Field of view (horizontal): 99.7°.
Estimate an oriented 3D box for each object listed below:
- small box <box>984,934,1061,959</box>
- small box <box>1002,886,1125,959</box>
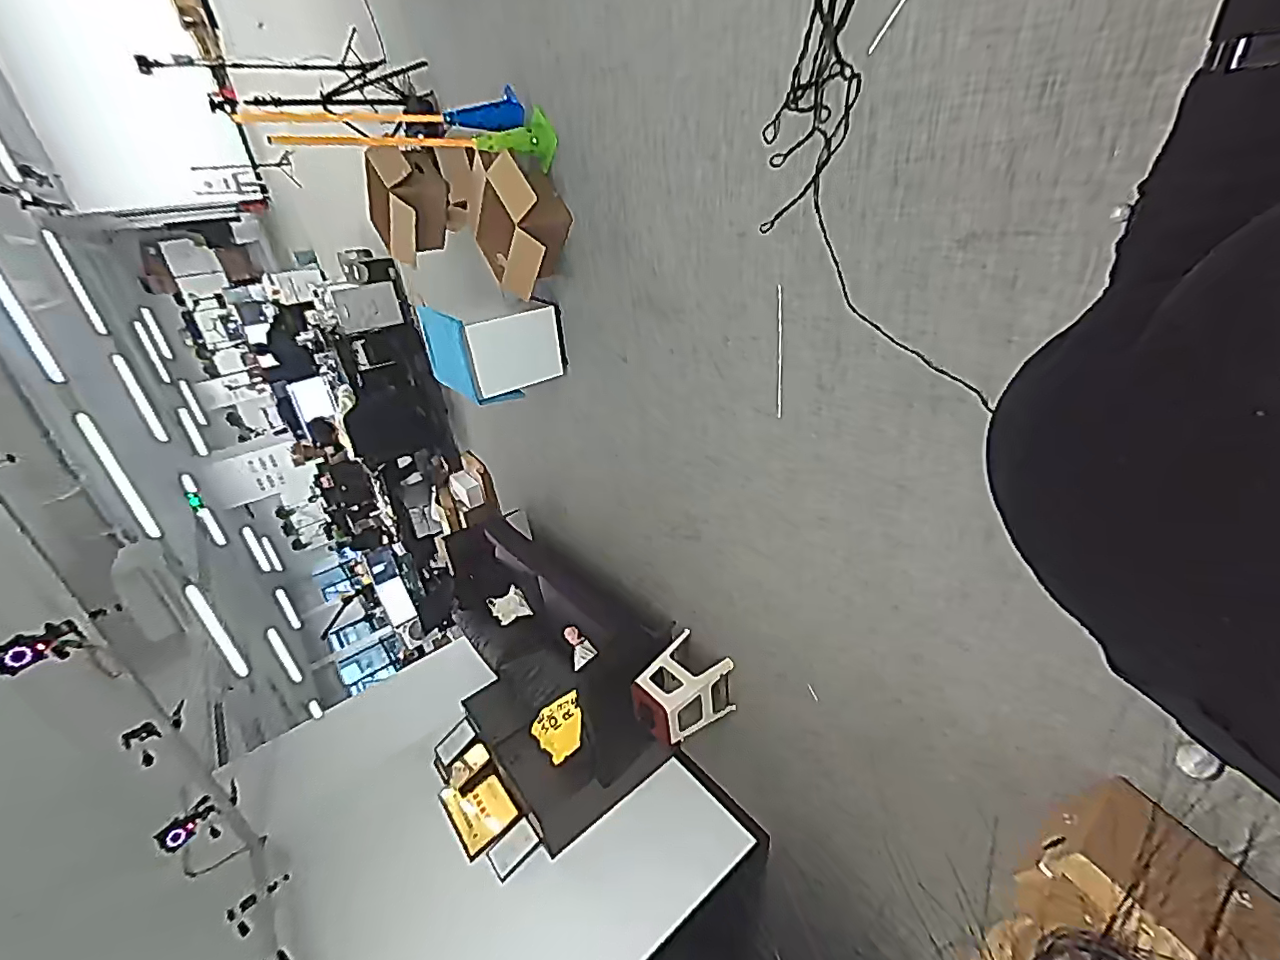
[{"bbox_3d":[0.952,1.249,1.312,0.179,0.176,0.168,44,144,31],"label":"small box"},{"bbox_3d":[1.085,1.195,1.389,0.168,0.176,0.179,43,144,32],"label":"small box"}]
